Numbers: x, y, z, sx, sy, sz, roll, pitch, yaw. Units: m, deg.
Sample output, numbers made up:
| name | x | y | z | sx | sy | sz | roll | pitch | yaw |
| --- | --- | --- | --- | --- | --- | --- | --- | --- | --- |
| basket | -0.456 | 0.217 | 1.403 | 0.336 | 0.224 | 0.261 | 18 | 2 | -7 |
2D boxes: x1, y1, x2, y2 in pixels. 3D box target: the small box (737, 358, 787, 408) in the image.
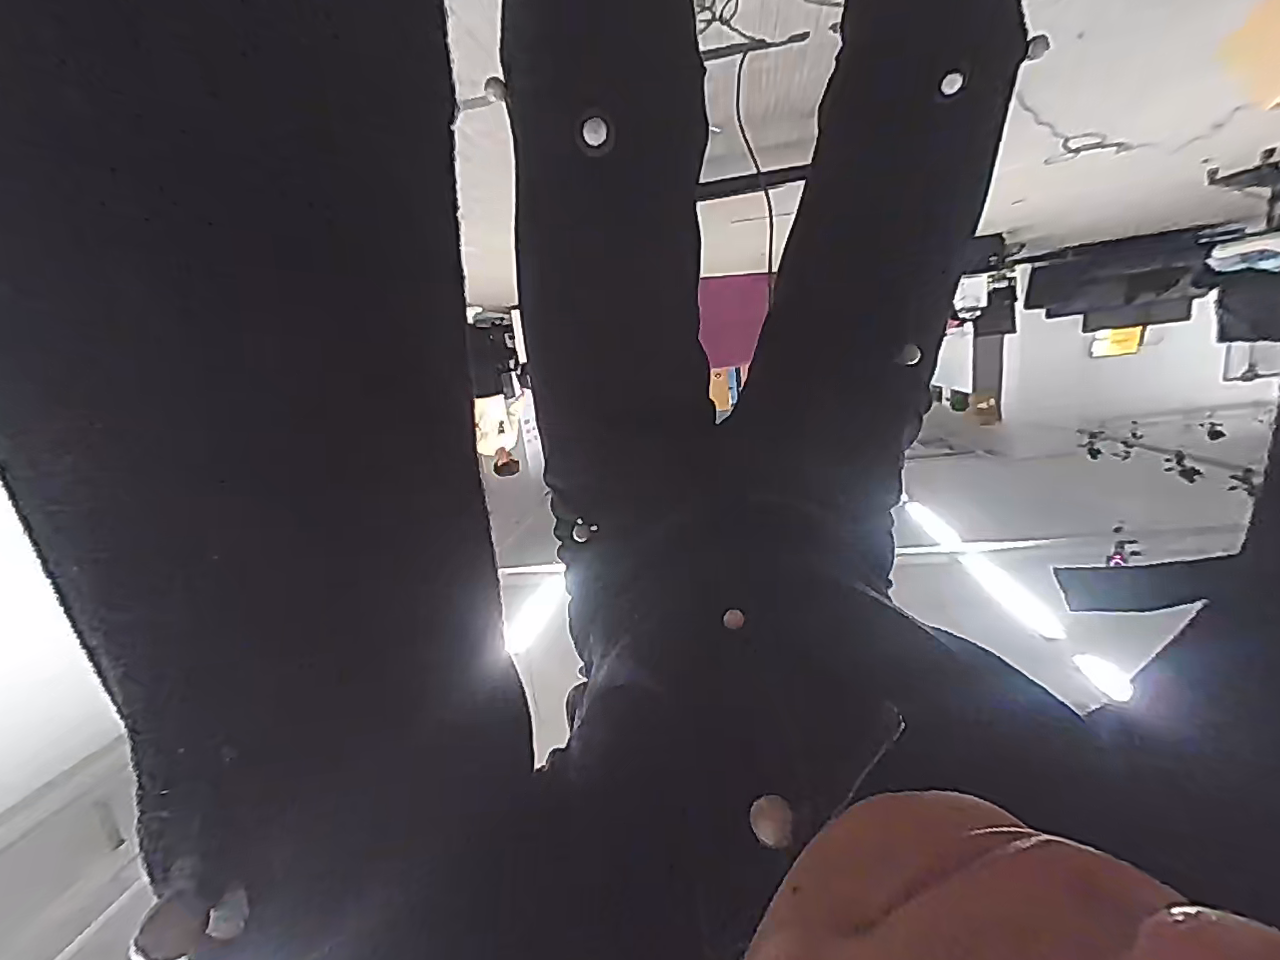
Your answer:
| name | x | y | z | sx | sy | sz | roll | pitch | yaw |
| --- | --- | --- | --- | --- | --- | --- | --- | --- | --- |
| small box | 0.484 | -0.391 | 2.163 | 0.168 | 0.176 | 0.179 | -6 | -166 | 5 |

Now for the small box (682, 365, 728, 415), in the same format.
| name | x | y | z | sx | sy | sz | roll | pitch | yaw |
| --- | --- | --- | --- | --- | --- | --- | --- | --- | --- |
| small box | 0.267 | -0.367 | 2.192 | 0.168 | 0.176 | 0.179 | -5 | -165 | 13 |
